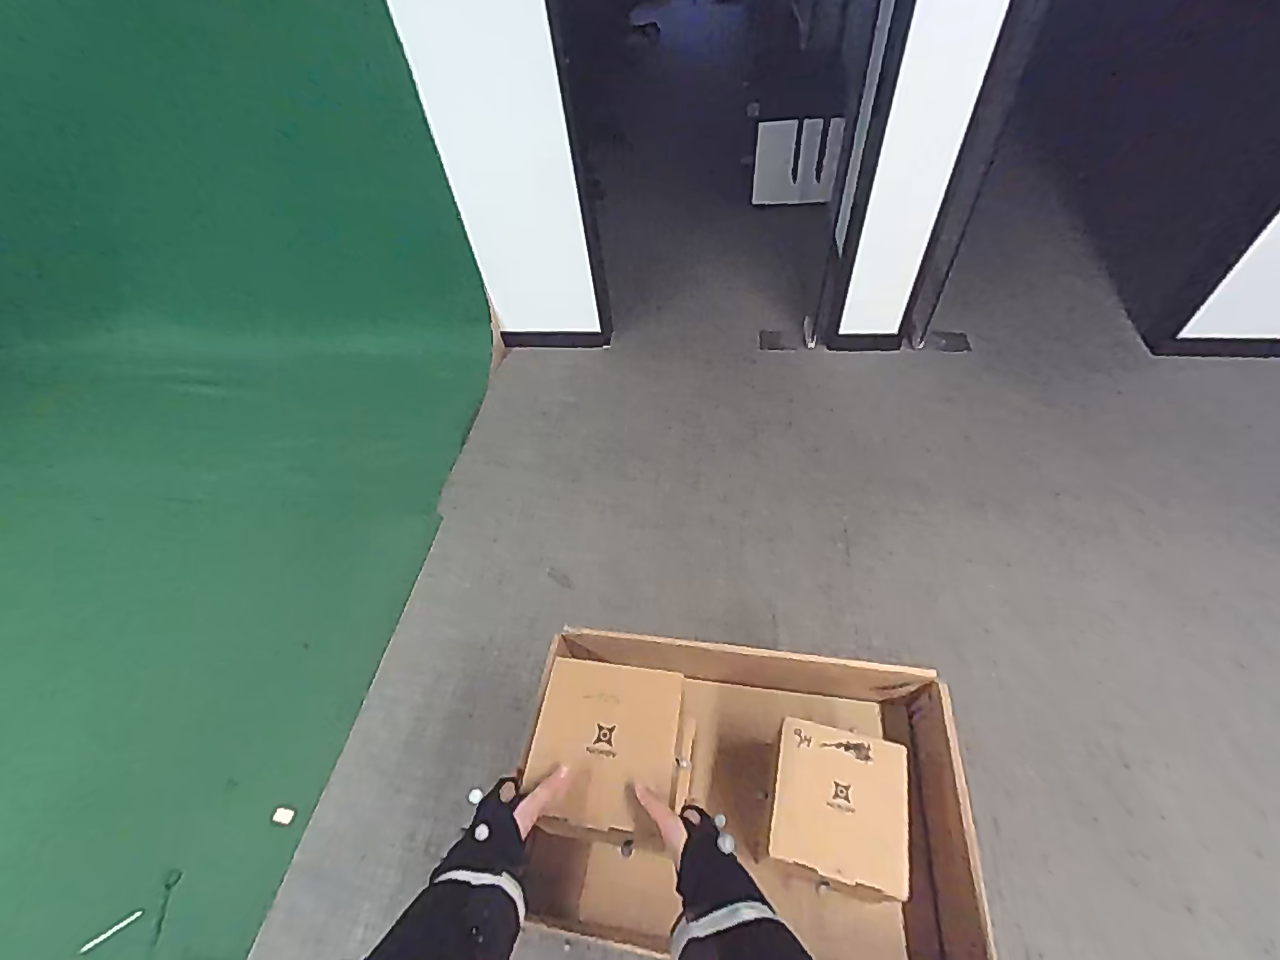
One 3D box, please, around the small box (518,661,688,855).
[{"bbox_3d":[-0.031,0.353,0.683,0.168,0.176,0.179,4,51,11],"label":"small box"}]
